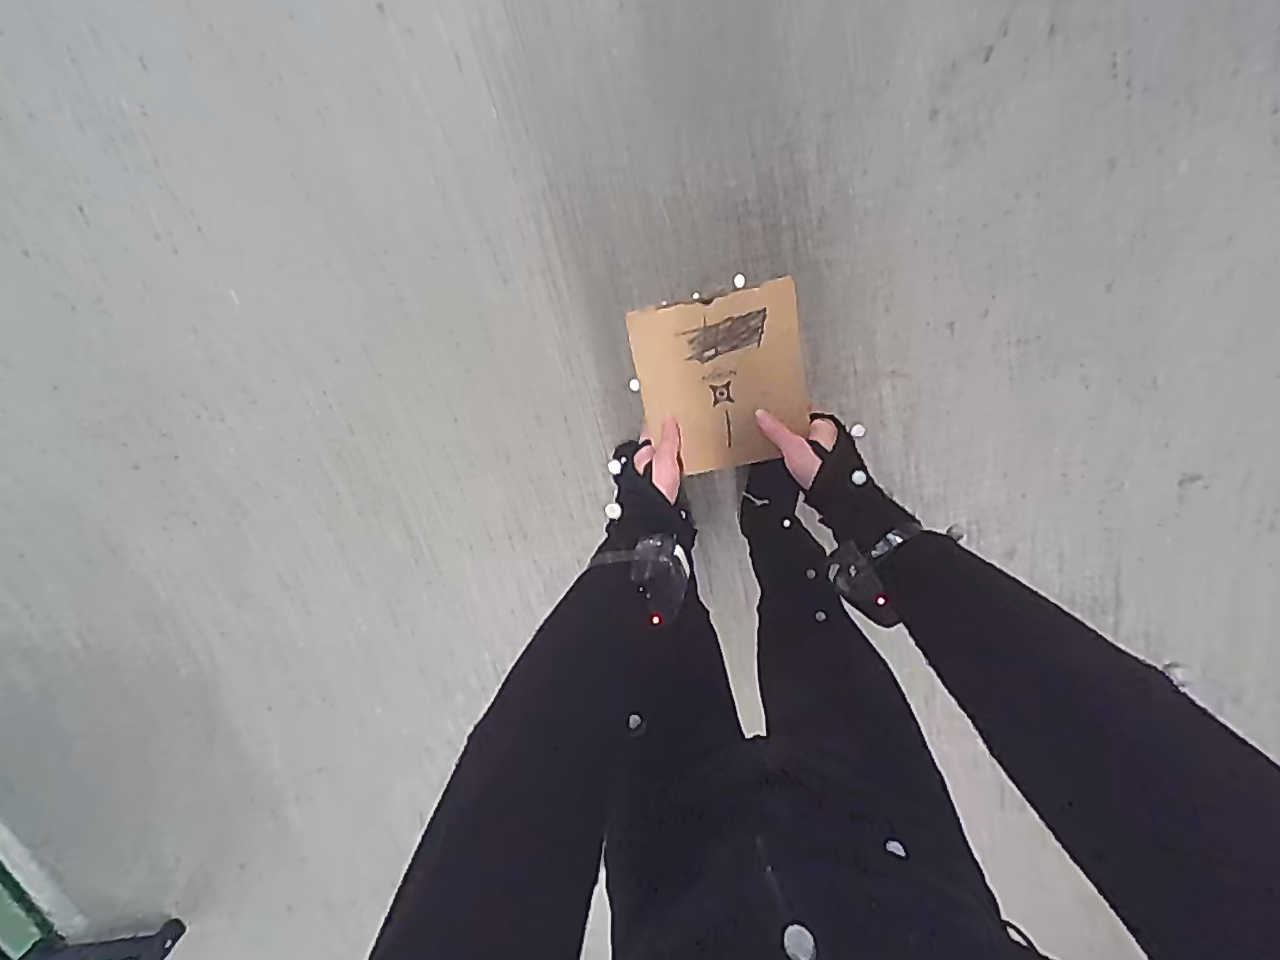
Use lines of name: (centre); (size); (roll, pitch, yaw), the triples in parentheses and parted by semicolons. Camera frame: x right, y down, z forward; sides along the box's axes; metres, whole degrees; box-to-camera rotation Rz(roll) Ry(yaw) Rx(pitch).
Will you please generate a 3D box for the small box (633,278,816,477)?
small box: (0.090, -0.120, 0.623); (0.168, 0.176, 0.179); (-11, 106, 7)
